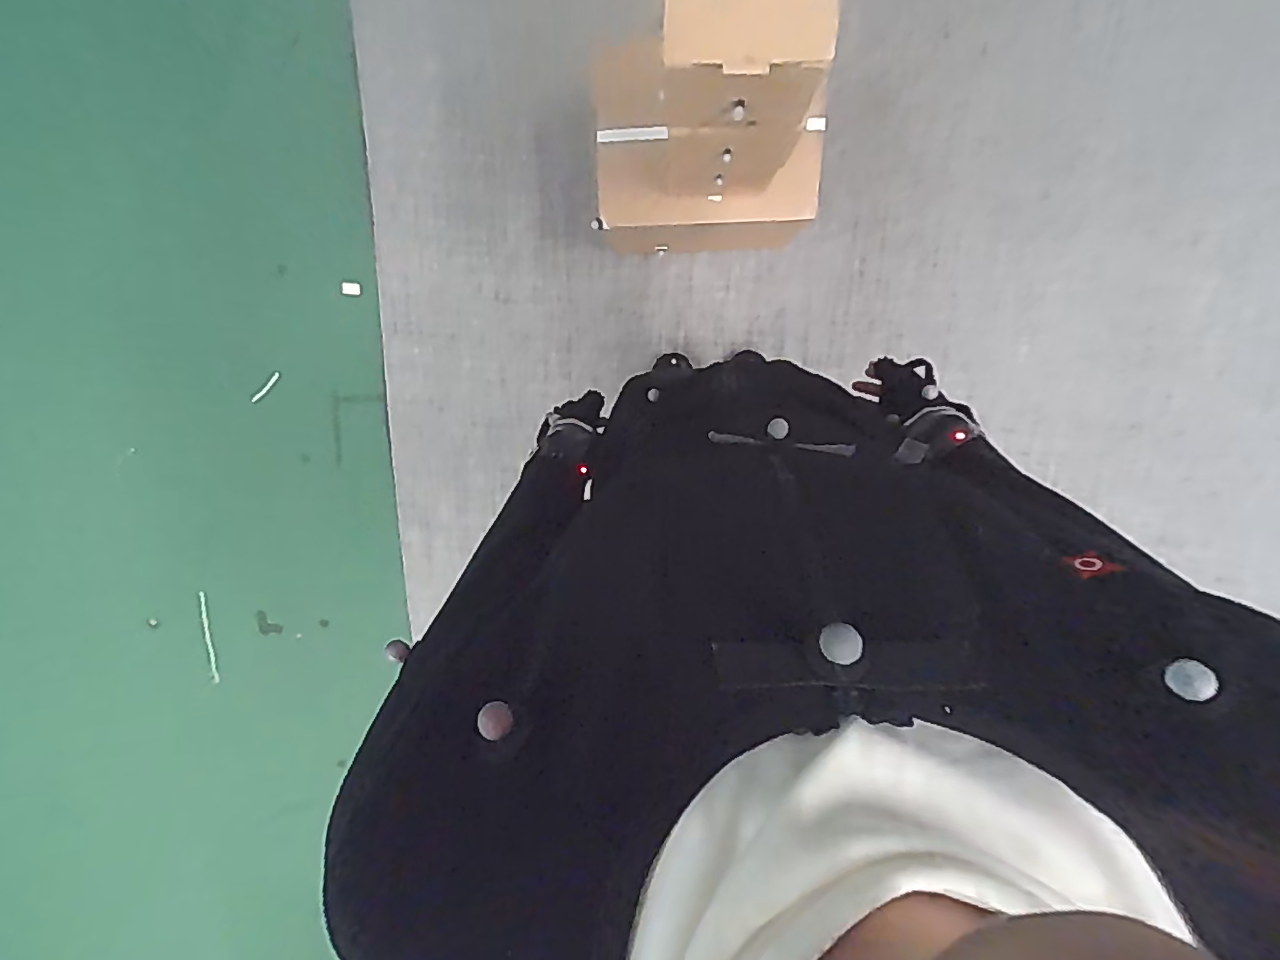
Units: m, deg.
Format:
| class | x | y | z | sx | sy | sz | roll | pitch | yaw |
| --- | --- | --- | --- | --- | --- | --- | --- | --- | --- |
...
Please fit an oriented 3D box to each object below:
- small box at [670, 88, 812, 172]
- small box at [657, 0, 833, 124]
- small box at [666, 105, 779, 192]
| class | x | y | z | sx | sy | sz | roll | pitch | yaw |
| --- | --- | --- | --- | --- | --- | --- | --- | --- | --- |
| small box | 0.128 | -0.538 | 0.738 | 0.179 | 0.176 | 0.168 | -2 | 105 | 5 |
| small box | 0.112 | -0.505 | 0.578 | 0.168 | 0.176 | 0.179 | 4 | 106 | 5 |
| small box | 0.136 | -0.586 | 0.895 | 0.179 | 0.176 | 0.168 | 2 | 106 | 4 |
